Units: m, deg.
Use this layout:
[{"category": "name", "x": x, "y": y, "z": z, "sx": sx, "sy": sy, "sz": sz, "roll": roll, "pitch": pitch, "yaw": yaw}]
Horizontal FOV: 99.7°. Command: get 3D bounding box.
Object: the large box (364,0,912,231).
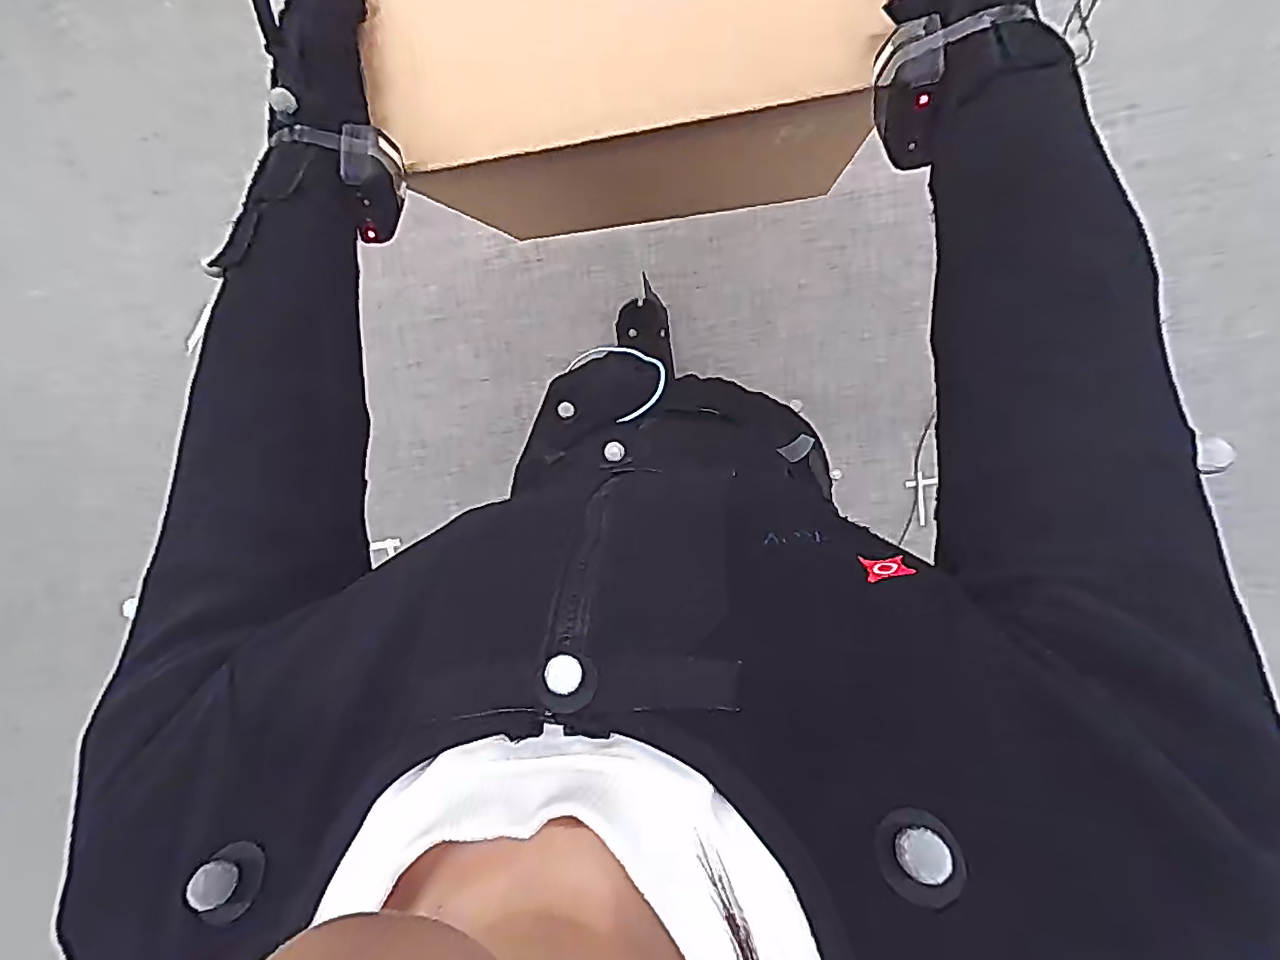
[{"category": "large box", "x": -0.004, "y": -0.462, "z": 0.520, "sx": 0.408, "sy": 0.320, "sz": 0.320, "roll": -5, "pitch": 105, "yaw": 9}]
